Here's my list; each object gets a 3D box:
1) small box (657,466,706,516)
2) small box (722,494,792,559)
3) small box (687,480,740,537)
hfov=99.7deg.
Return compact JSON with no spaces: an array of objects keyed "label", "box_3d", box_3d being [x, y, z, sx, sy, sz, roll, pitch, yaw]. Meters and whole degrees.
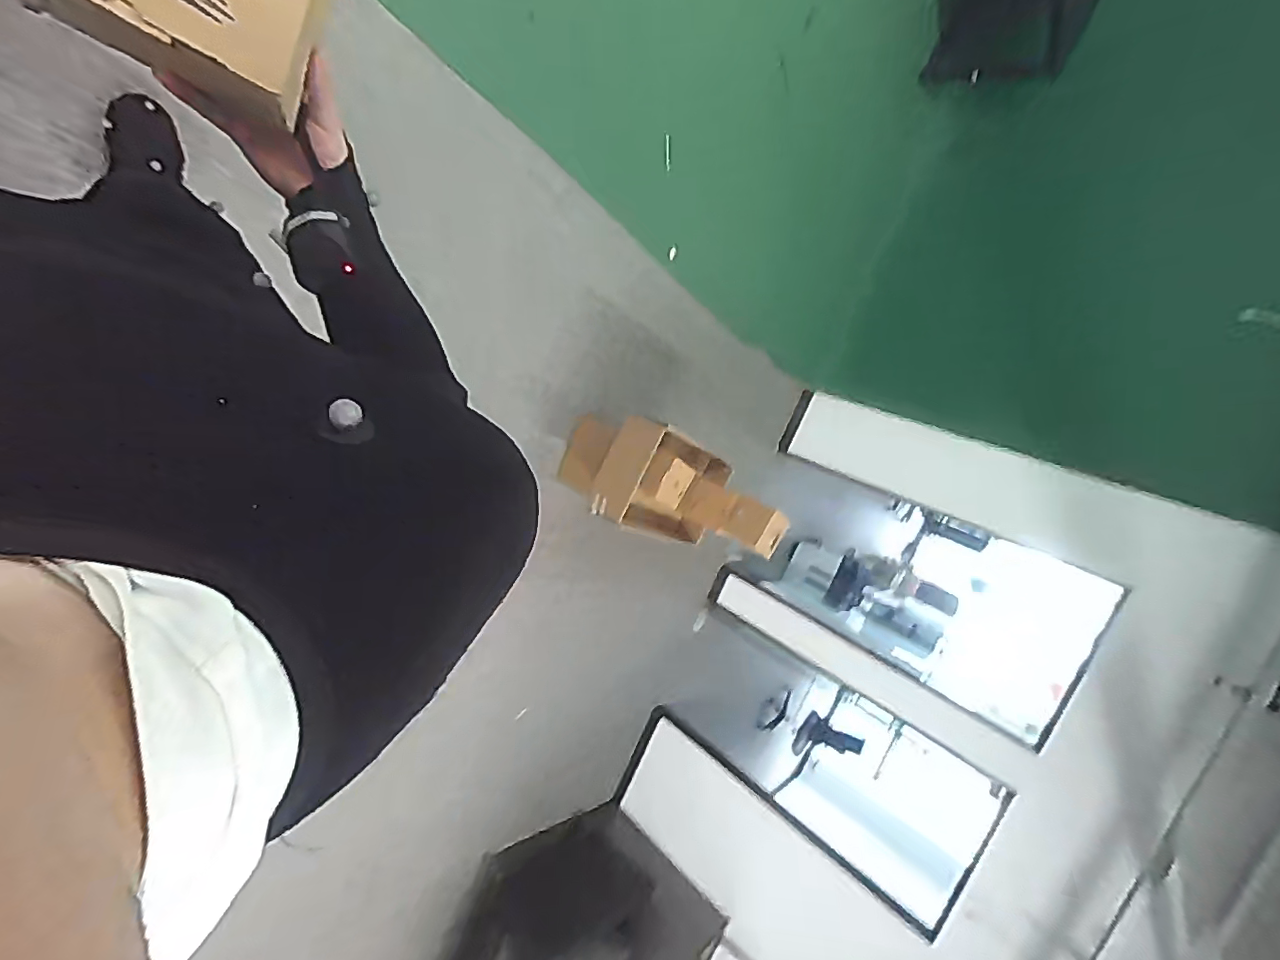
[{"label":"small box","box_3d":[0.202,0.055,2.218,0.179,0.176,0.168,21,94,-53]},{"label":"small box","box_3d":[0.438,0.170,2.024,0.179,0.176,0.168,36,83,-52]},{"label":"small box","box_3d":[0.316,0.114,2.119,0.179,0.176,0.168,20,96,-52]}]
